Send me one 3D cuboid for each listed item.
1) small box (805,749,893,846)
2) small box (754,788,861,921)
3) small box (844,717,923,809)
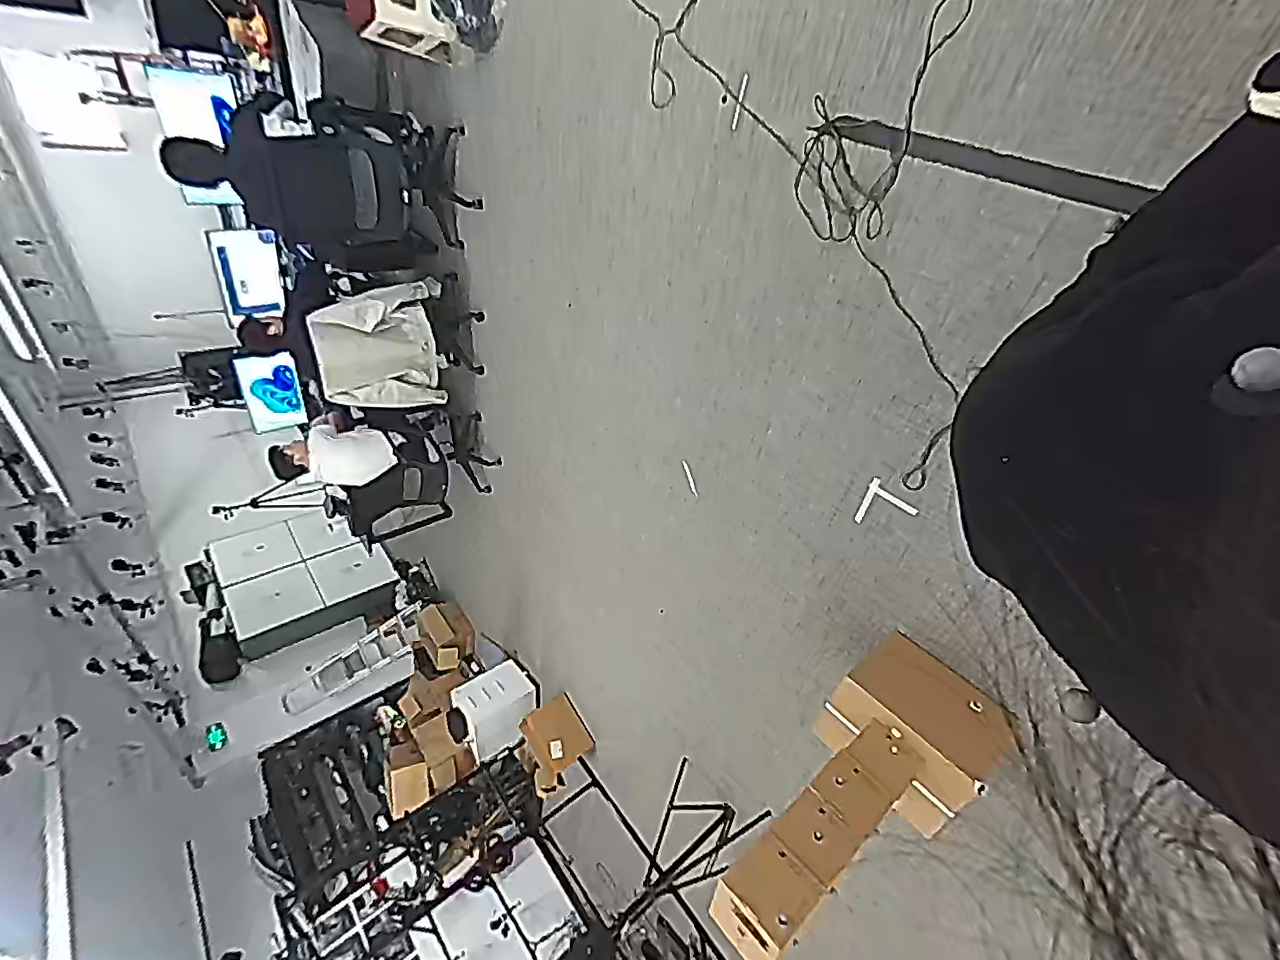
[{"bbox_3d":[0.530,0.848,1.412,0.168,0.176,0.179,38,135,36],"label":"small box"},{"bbox_3d":[0.408,0.900,1.314,0.168,0.176,0.179,35,131,39],"label":"small box"},{"bbox_3d":[0.654,0.808,1.508,0.168,0.176,0.179,38,133,34],"label":"small box"}]
